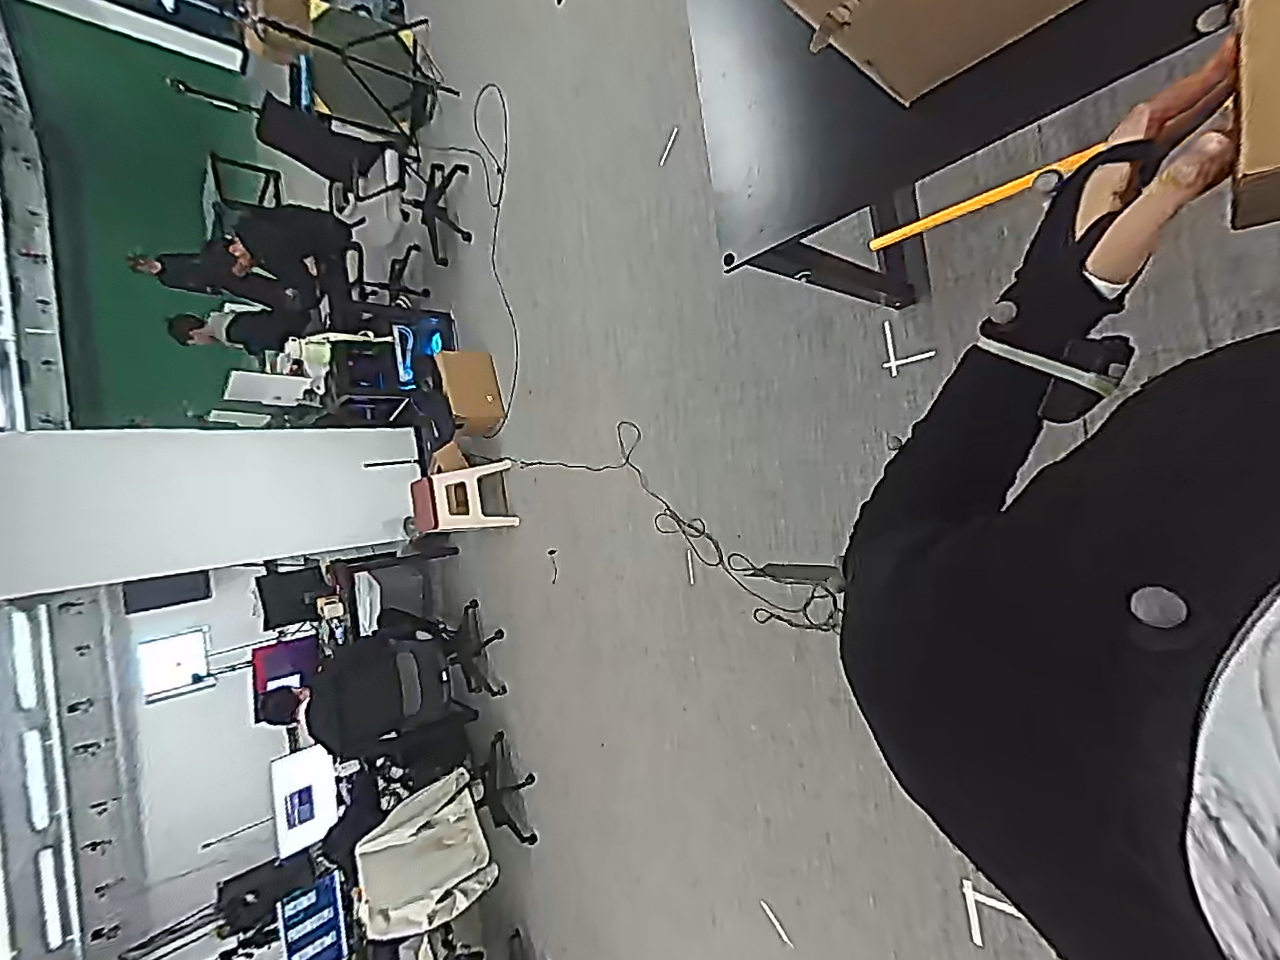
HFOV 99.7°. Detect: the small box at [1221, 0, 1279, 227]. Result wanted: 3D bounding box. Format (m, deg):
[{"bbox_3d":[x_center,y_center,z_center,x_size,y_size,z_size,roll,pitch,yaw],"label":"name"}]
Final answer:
[{"bbox_3d":[0.397,-0.245,0.254,0.168,0.176,0.179,0,99,47],"label":"small box"}]
